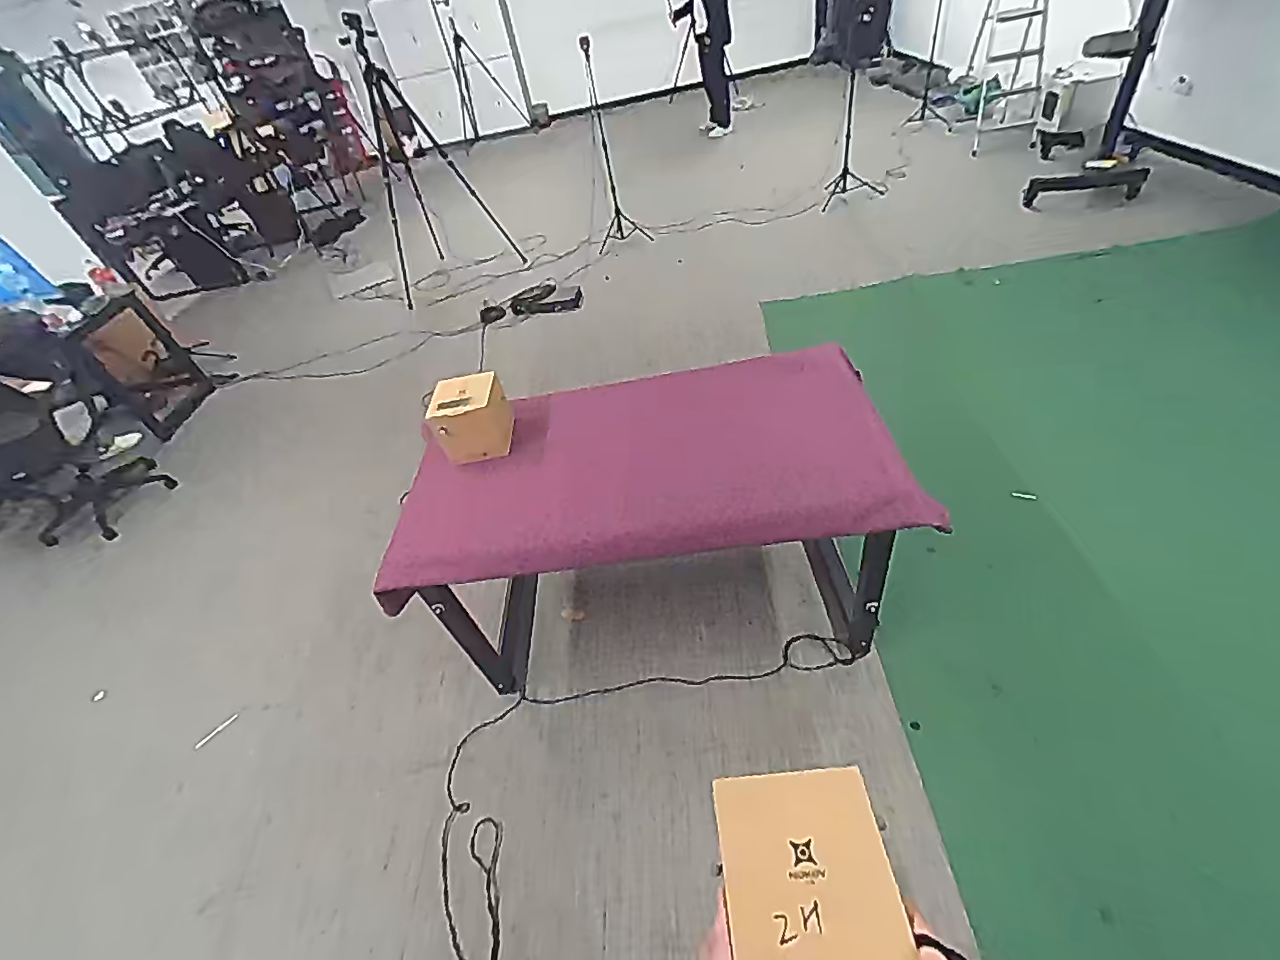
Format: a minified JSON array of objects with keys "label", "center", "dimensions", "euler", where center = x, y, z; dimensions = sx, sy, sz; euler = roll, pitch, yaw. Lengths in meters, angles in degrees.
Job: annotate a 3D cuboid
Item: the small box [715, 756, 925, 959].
[{"label":"small box","center":[0.183,0.439,0.603],"dimensions":[0.168,0.176,0.179],"euler":[-11,43,3]}]
